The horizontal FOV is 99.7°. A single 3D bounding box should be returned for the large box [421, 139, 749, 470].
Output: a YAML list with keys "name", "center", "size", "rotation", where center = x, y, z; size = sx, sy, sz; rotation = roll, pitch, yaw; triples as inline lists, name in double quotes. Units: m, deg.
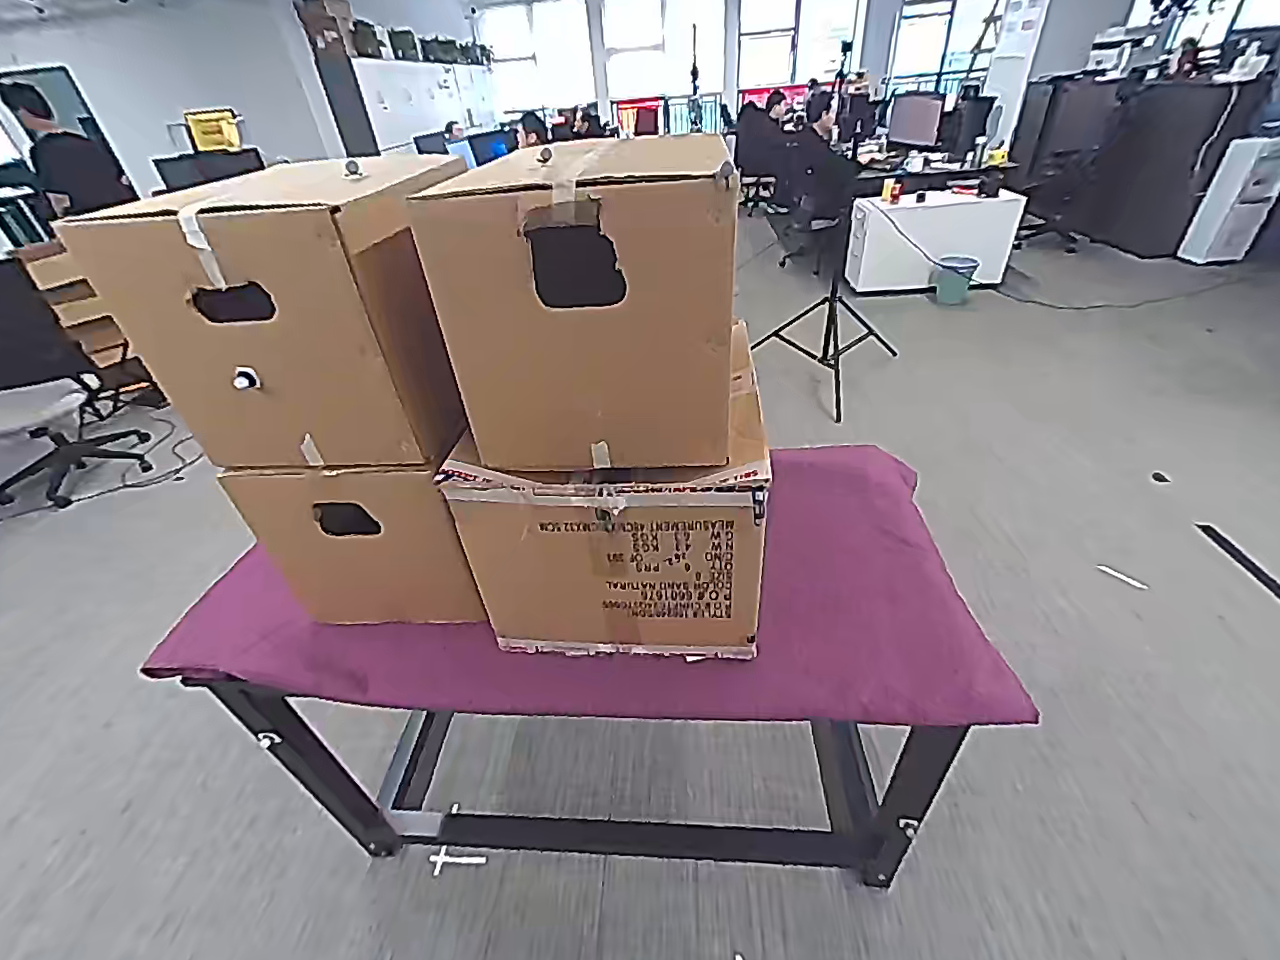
- name: "large box"
  center: [-0.035, -0.255, 0.735]
  size: [0.320, 0.320, 0.408]
  rotation: [-2, 37, 6]
